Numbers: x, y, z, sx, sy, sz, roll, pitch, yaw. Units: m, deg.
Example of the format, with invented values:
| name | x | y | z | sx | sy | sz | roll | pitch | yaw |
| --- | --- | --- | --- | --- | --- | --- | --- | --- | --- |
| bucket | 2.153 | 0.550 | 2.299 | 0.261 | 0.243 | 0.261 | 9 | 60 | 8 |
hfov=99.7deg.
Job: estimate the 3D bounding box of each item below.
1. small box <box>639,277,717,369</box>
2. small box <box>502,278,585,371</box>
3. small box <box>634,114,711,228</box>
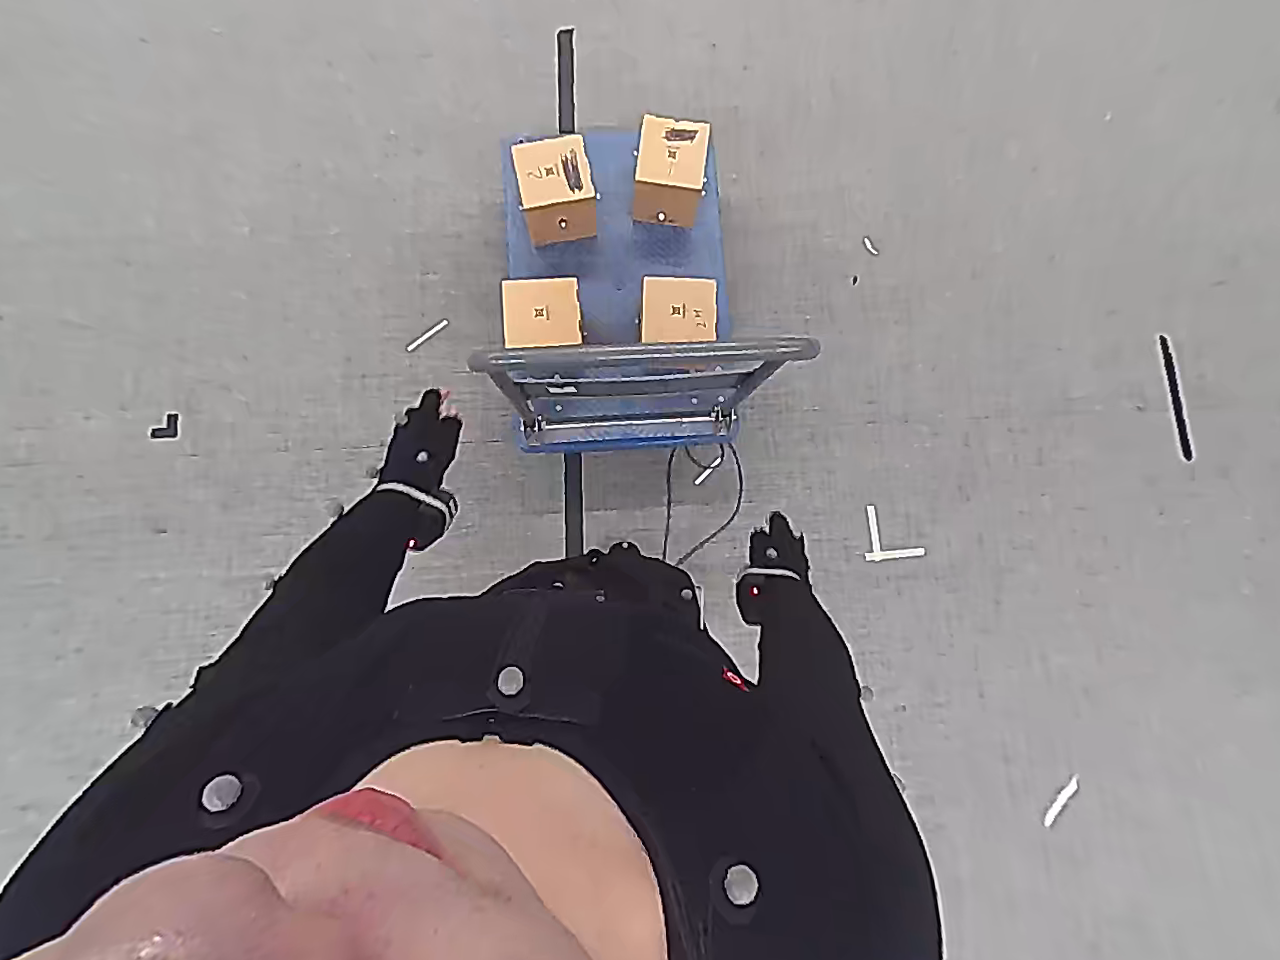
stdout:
| name | x | y | z | sx | sy | sz | roll | pitch | yaw |
| --- | --- | --- | --- | --- | --- | --- | --- | --- | --- |
| small box | 0.089 | -0.380 | 1.331 | 0.179 | 0.176 | 0.168 | 2 | 83 | -2 |
| small box | -0.229 | -0.372 | 1.315 | 0.179 | 0.176 | 0.168 | -5 | 83 | -5 |
| small box | 0.076 | -0.779 | 1.377 | 0.168 | 0.176 | 0.179 | 8 | 84 | -2 |
